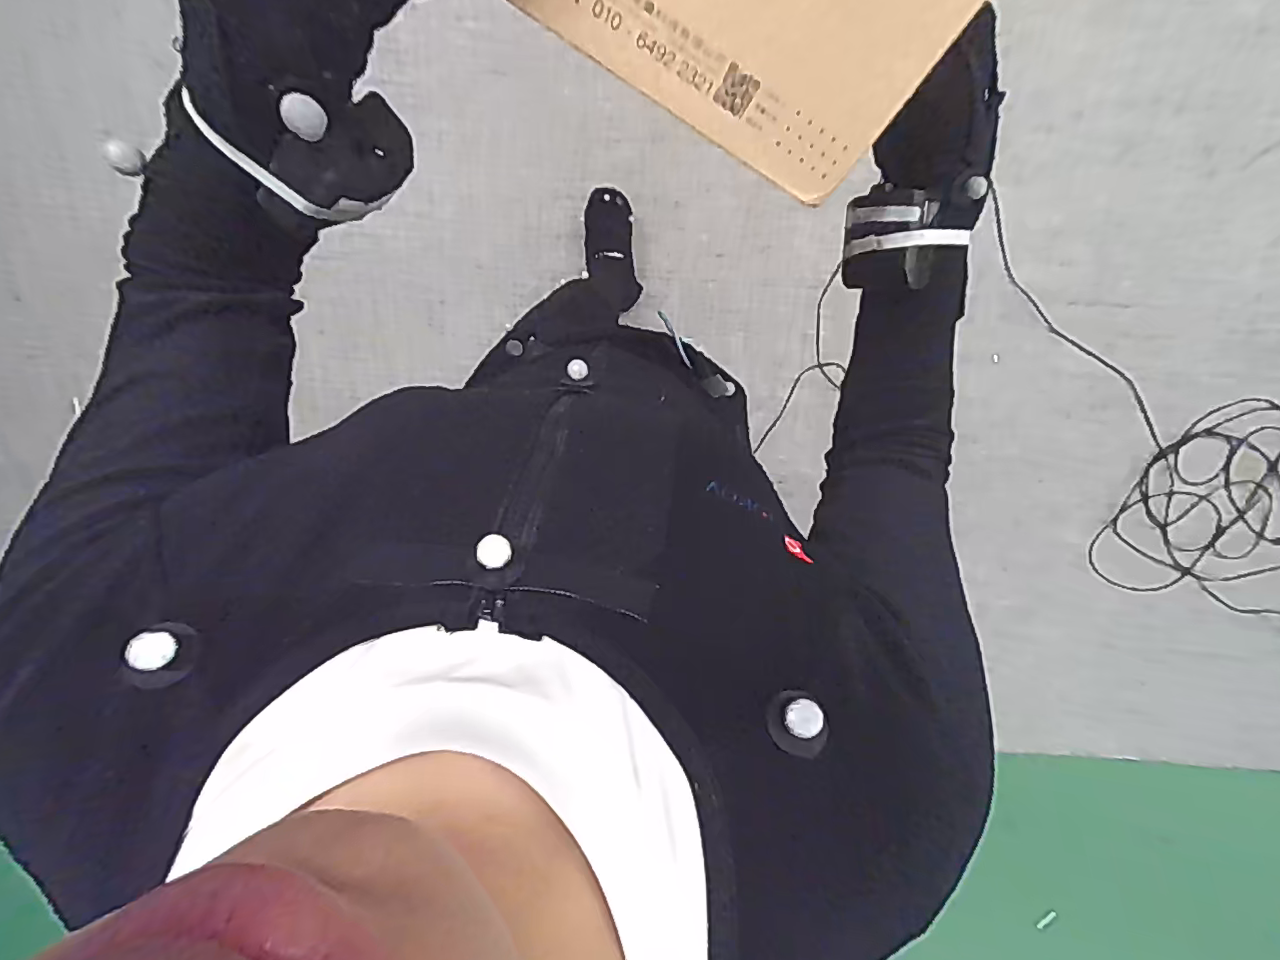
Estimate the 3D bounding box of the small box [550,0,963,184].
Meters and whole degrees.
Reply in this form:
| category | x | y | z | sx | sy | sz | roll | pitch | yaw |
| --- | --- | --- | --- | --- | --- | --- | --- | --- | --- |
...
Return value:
| category | x | y | z | sx | sy | sz | roll | pitch | yaw |
| --- | --- | --- | --- | --- | --- | --- | --- | --- | --- |
| small box | 0.063 | -0.274 | 0.240 | 0.168 | 0.179 | 0.176 | 25 | 134 | -15 |
